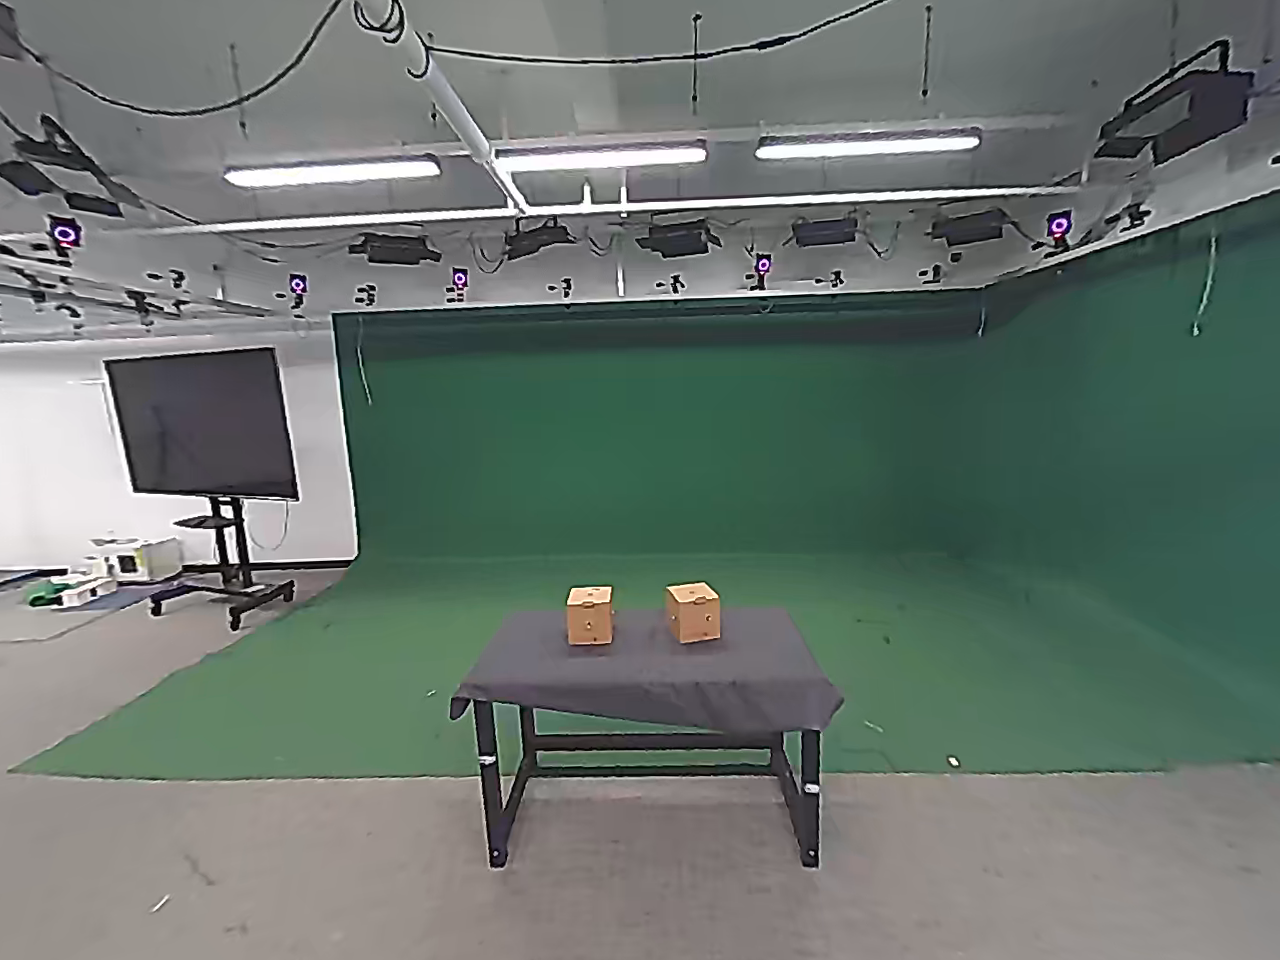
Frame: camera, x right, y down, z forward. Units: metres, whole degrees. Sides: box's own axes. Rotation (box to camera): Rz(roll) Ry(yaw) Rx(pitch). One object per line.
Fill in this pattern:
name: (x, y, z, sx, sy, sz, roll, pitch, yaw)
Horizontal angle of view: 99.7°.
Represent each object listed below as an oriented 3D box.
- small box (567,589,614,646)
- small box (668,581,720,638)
small box: (-0.192, 0.548, 2.141, 0.168, 0.176, 0.179, -4, 9, -3)
small box: (0.211, 0.514, 2.133, 0.168, 0.176, 0.179, -1, 9, -12)
